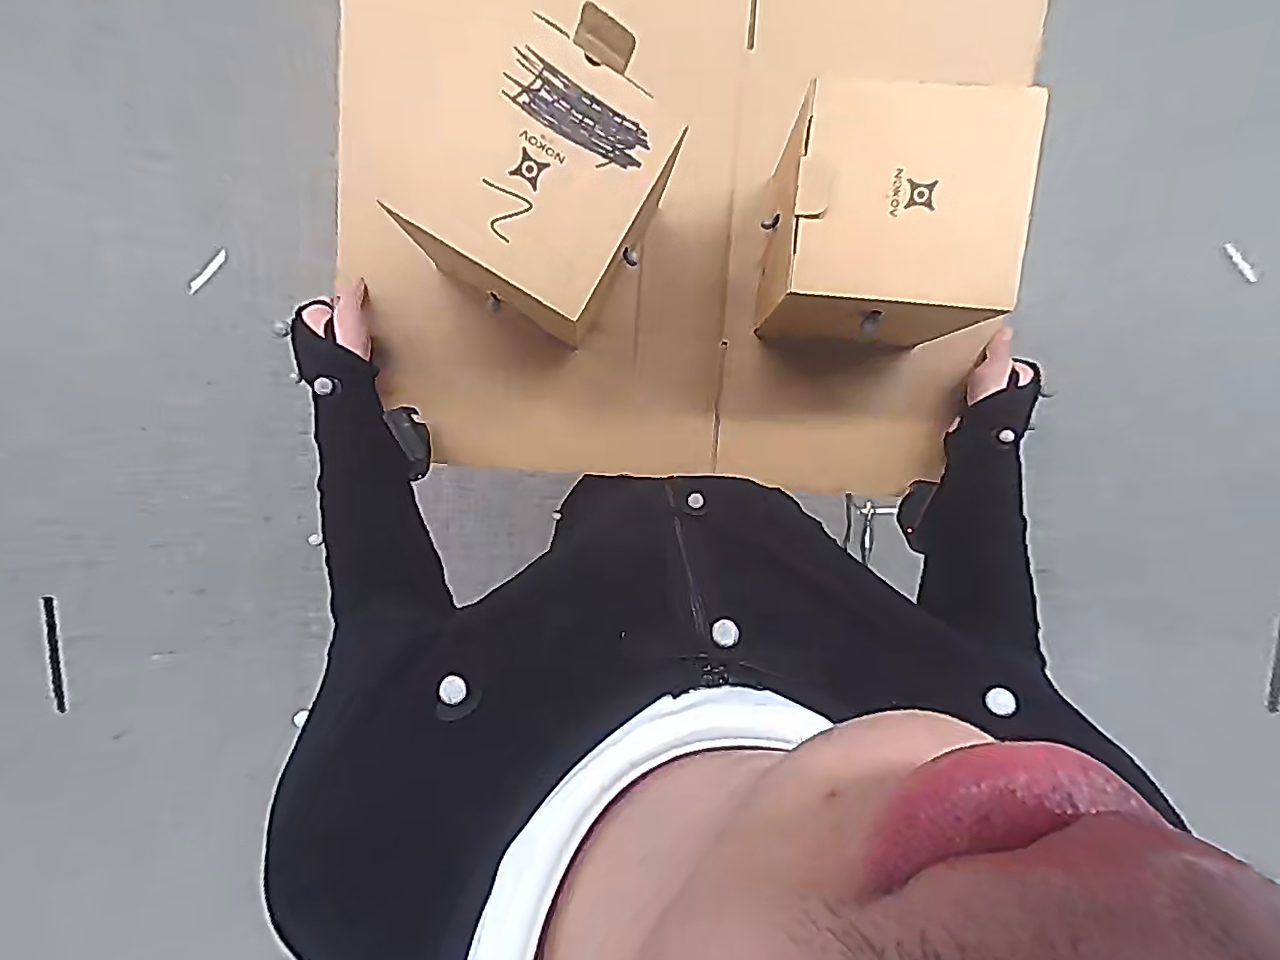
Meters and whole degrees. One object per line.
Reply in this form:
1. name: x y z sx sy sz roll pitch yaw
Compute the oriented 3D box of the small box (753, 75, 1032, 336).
1. small box: 0.214 -0.236 0.508 0.179 0.176 0.168 6 95 3
